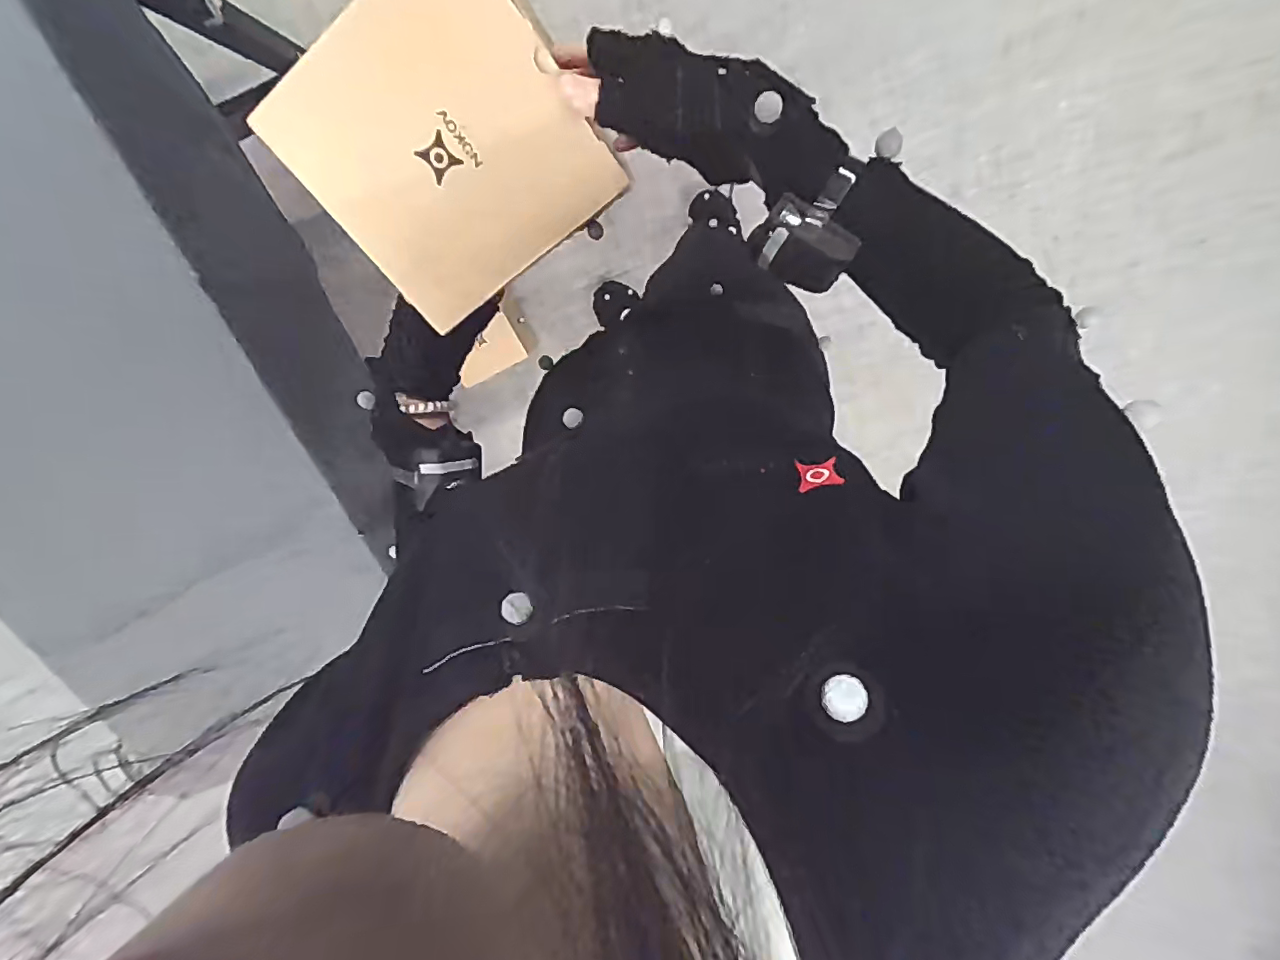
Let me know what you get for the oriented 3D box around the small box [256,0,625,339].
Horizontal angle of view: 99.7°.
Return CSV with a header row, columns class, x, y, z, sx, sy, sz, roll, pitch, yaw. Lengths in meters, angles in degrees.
class,x,y,z,sx,sy,sz,roll,pitch,yaw
small box,-0.124,-0.241,0.411,0.179,0.176,0.168,-32,117,16
